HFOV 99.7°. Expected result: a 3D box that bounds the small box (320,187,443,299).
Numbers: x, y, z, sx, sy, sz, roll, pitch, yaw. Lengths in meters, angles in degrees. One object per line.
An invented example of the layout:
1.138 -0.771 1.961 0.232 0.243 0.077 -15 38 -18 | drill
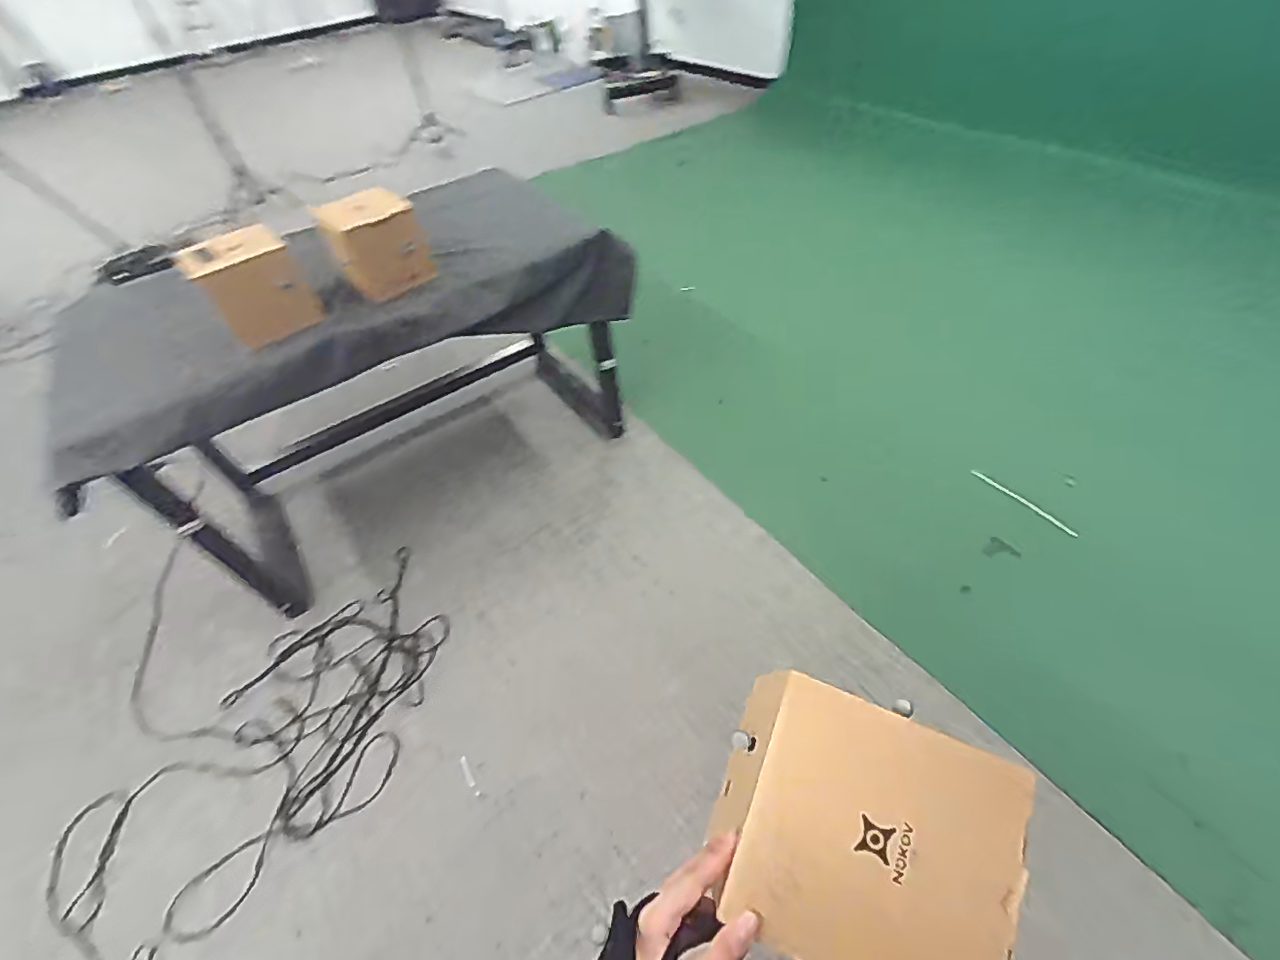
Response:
-0.581 -0.537 1.234 0.168 0.176 0.179 -36 54 -25 | small box
